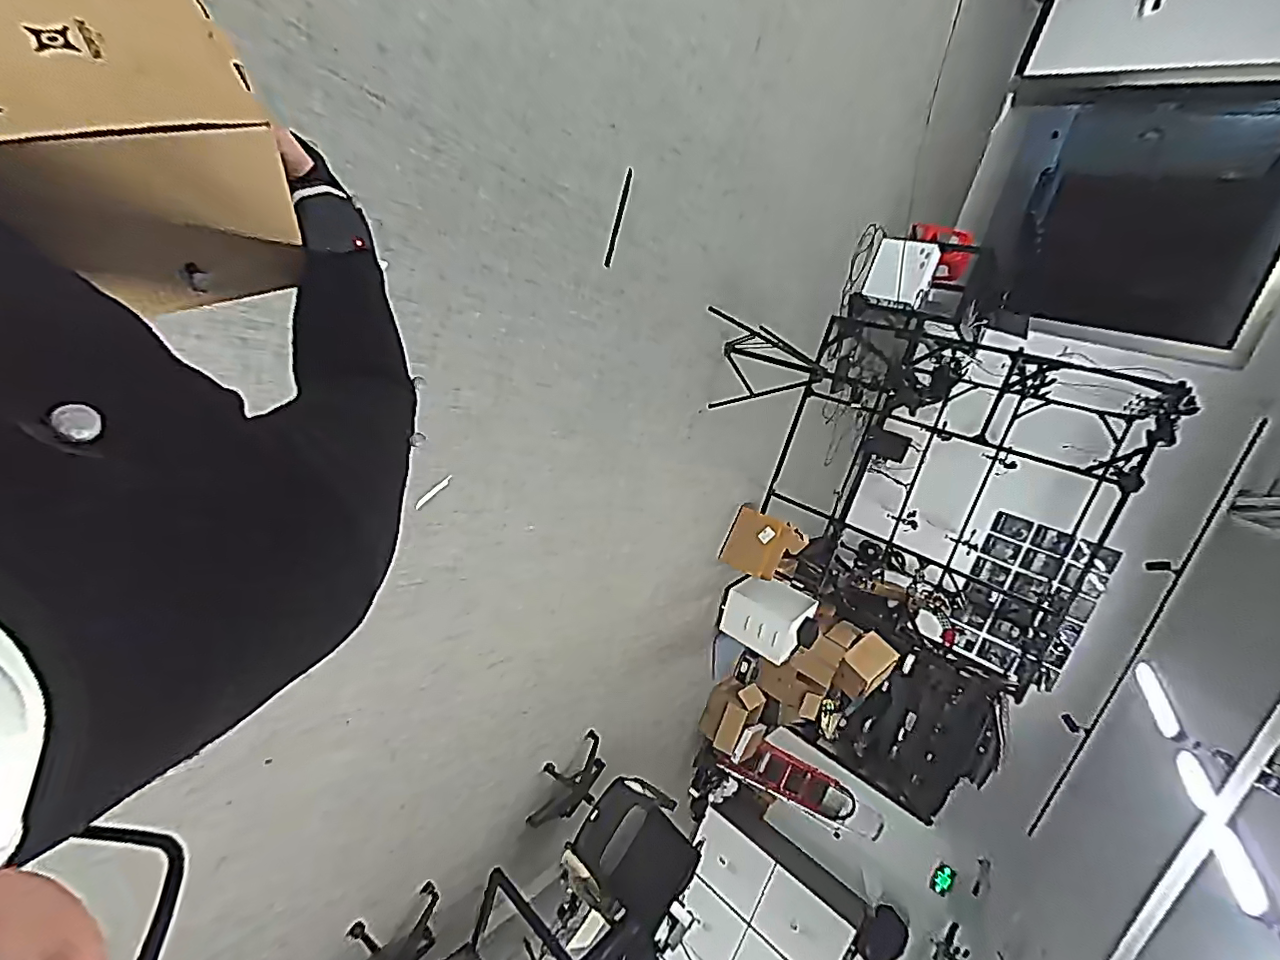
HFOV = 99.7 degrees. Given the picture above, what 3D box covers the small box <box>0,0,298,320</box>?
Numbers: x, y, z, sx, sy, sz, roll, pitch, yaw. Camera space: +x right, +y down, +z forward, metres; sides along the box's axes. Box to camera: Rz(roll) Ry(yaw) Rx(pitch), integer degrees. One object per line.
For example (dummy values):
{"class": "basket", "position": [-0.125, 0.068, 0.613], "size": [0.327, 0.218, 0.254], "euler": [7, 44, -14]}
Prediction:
{"class": "small box", "position": [-0.409, -0.262, 0.442], "size": [0.179, 0.168, 0.176], "euler": [-28, 169, -30]}
